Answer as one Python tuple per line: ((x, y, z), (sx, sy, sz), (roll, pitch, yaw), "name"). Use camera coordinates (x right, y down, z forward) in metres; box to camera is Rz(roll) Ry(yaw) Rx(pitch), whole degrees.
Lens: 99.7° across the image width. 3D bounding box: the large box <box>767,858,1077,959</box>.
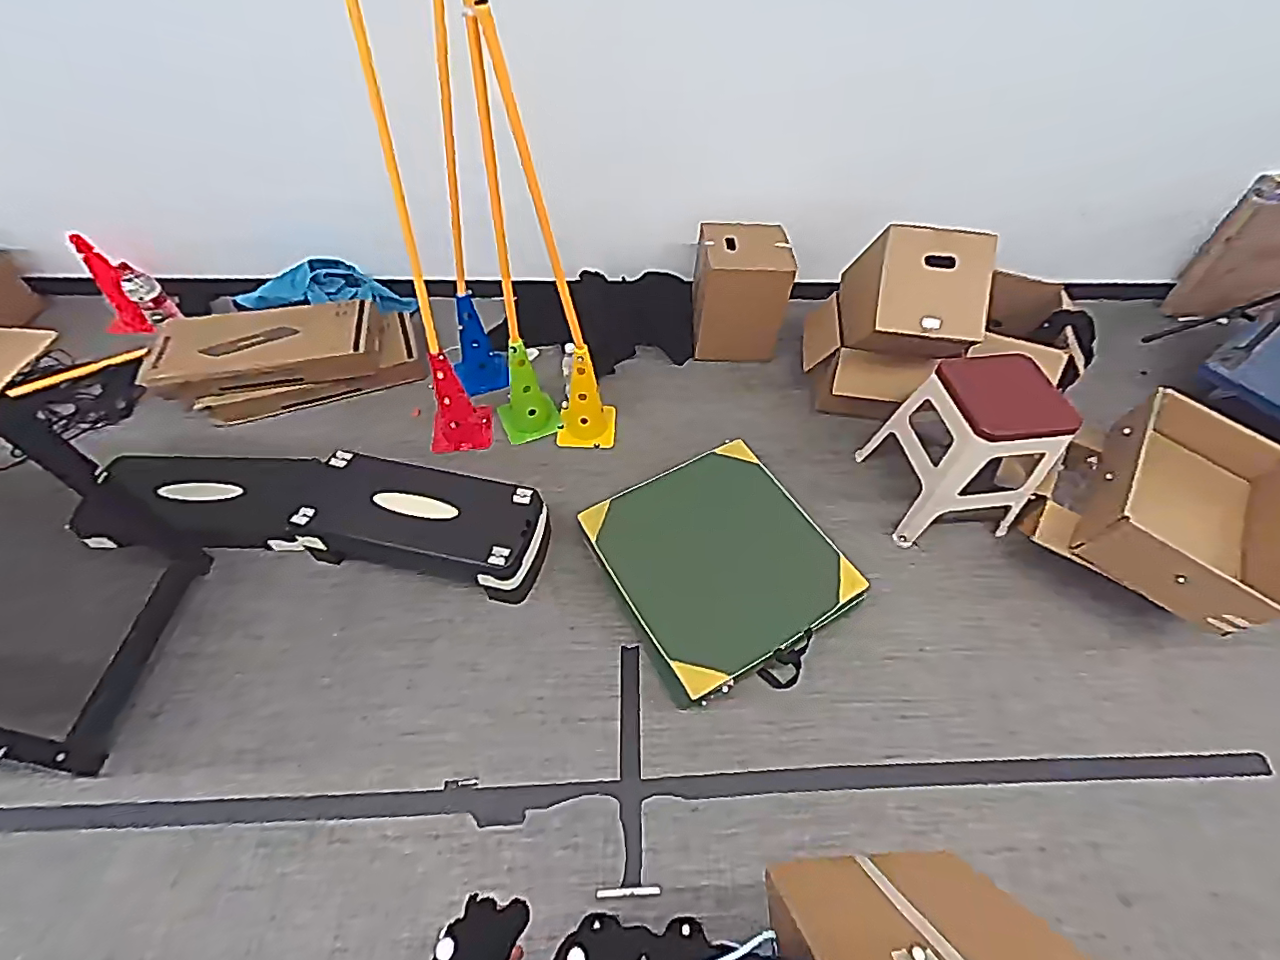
((0.370, 0.730, 0.655), (0.320, 0.408, 0.320), (-3, 79, -3), "large box")
